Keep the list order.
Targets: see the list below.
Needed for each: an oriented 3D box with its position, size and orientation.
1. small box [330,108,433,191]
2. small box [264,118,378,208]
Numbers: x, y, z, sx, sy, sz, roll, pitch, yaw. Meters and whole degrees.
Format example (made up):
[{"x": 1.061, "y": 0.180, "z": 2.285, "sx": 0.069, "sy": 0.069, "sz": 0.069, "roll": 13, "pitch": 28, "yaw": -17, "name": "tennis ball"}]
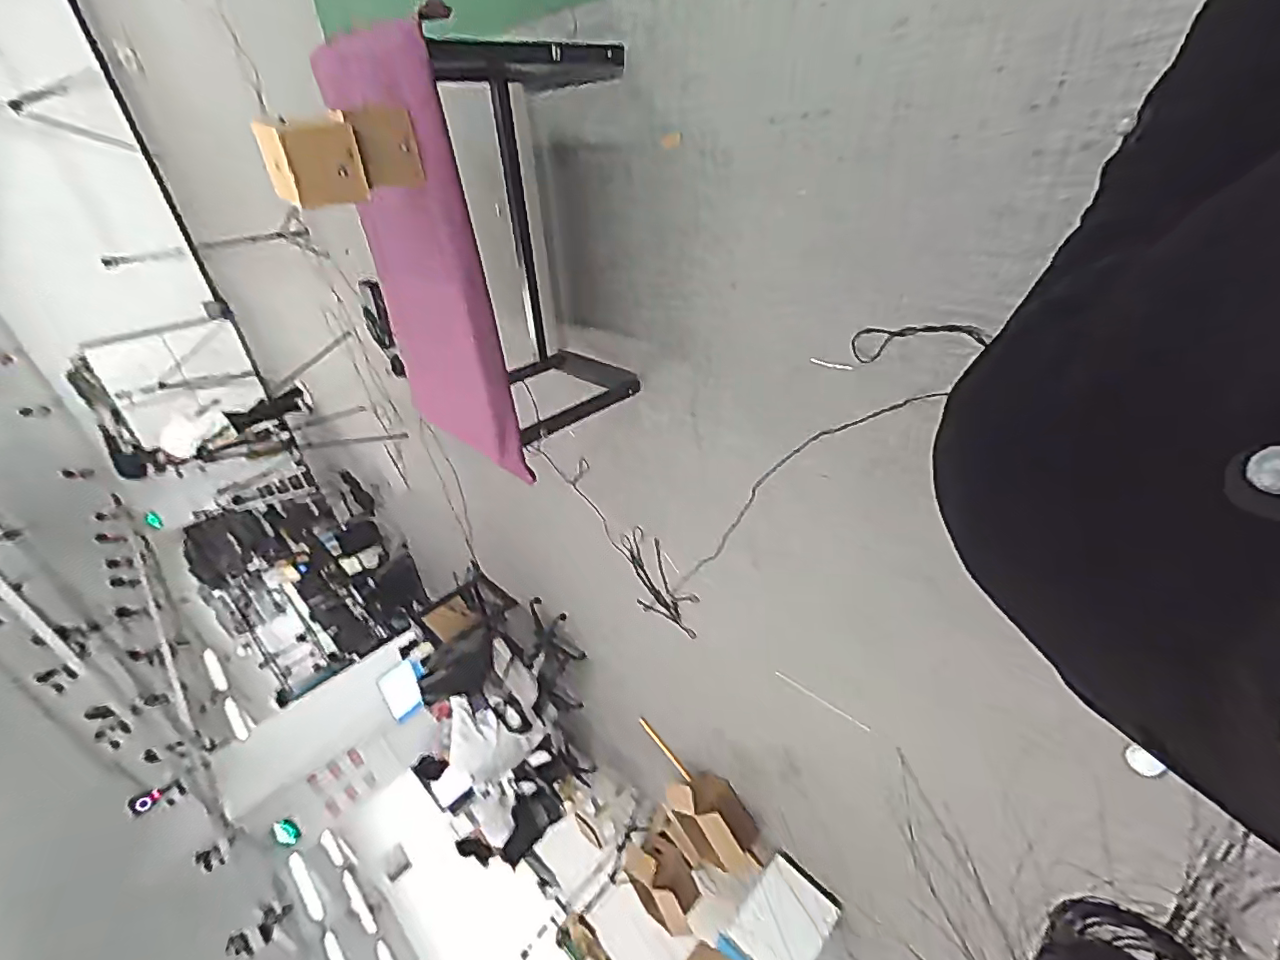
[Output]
[{"x": -0.677, "y": -0.872, "z": 1.427, "sx": 0.168, "sy": 0.176, "sz": 0.179, "roll": 27, "pitch": 135, "yaw": 40, "name": "small box"}, {"x": -0.779, "y": -0.784, "z": 1.332, "sx": 0.179, "sy": 0.176, "sz": 0.168, "roll": 33, "pitch": 138, "yaw": 33, "name": "small box"}]
